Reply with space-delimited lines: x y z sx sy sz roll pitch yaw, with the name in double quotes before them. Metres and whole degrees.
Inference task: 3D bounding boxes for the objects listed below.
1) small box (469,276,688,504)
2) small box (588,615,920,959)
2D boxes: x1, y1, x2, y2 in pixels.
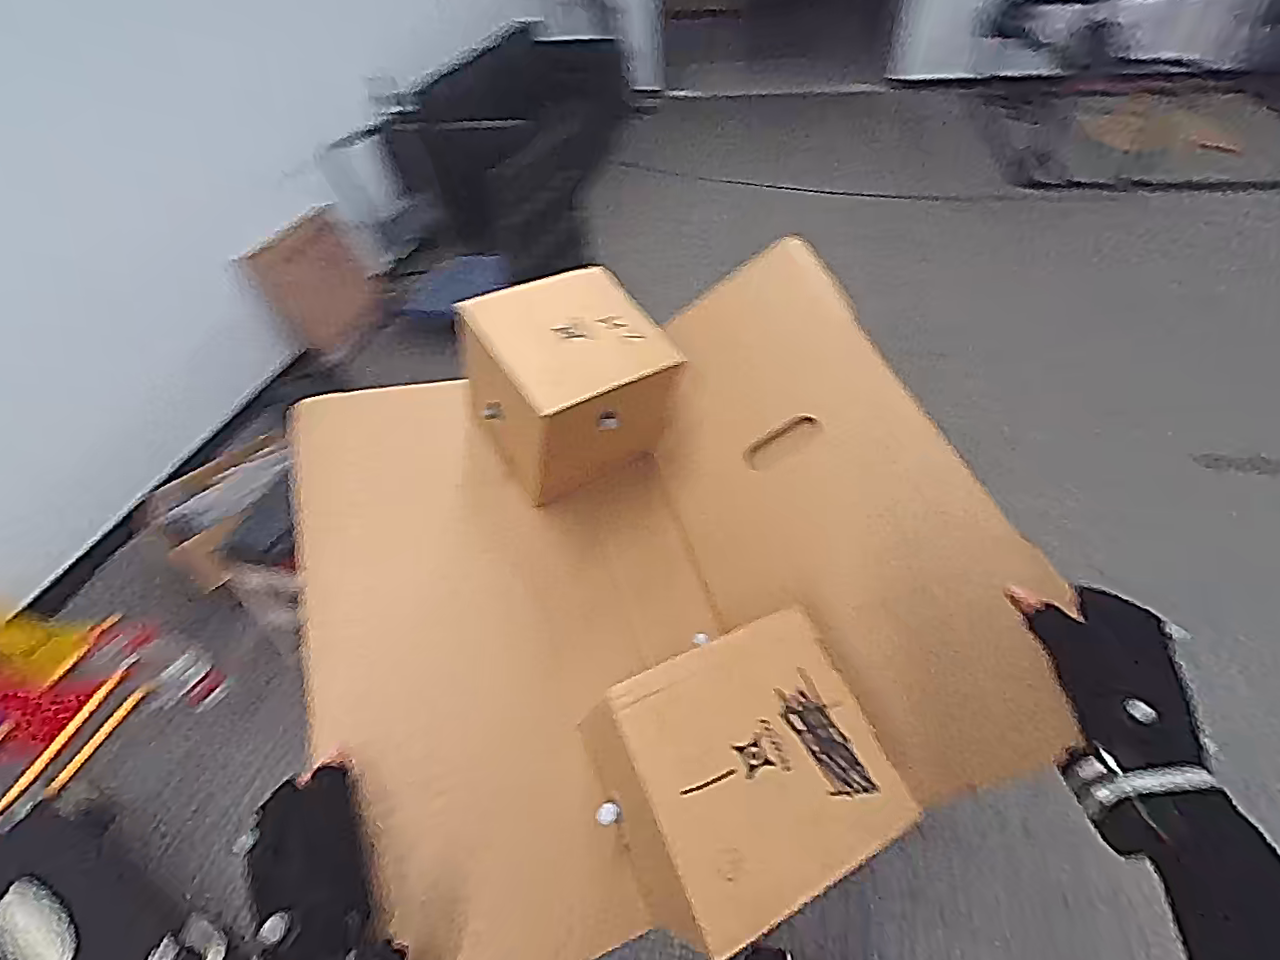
"small box" -0.076 -0.100 0.624 0.179 0.176 0.168 -26 67 -27
"small box" 0.072 0.236 0.443 0.179 0.176 0.168 -16 63 -21
